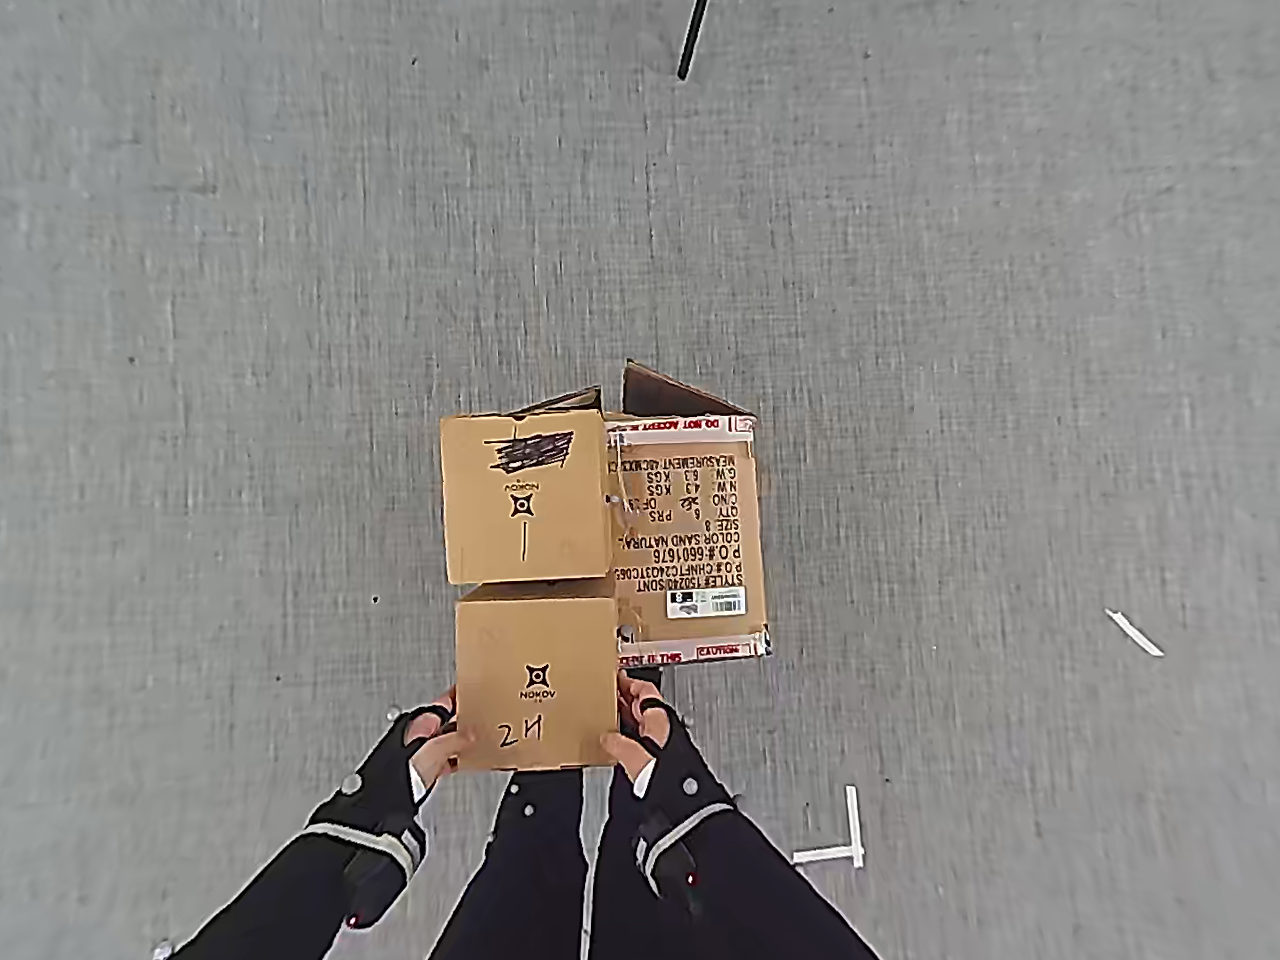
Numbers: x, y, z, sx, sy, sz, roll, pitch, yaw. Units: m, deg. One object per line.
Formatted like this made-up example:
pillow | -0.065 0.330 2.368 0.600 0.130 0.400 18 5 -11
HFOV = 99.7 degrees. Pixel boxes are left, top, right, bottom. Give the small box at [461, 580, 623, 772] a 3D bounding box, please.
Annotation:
small box | -0.105 0.212 0.635 0.168 0.176 0.179 -2 89 -2

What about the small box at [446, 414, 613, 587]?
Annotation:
small box | -0.120 0.024 0.642 0.168 0.176 0.179 -3 89 -1
